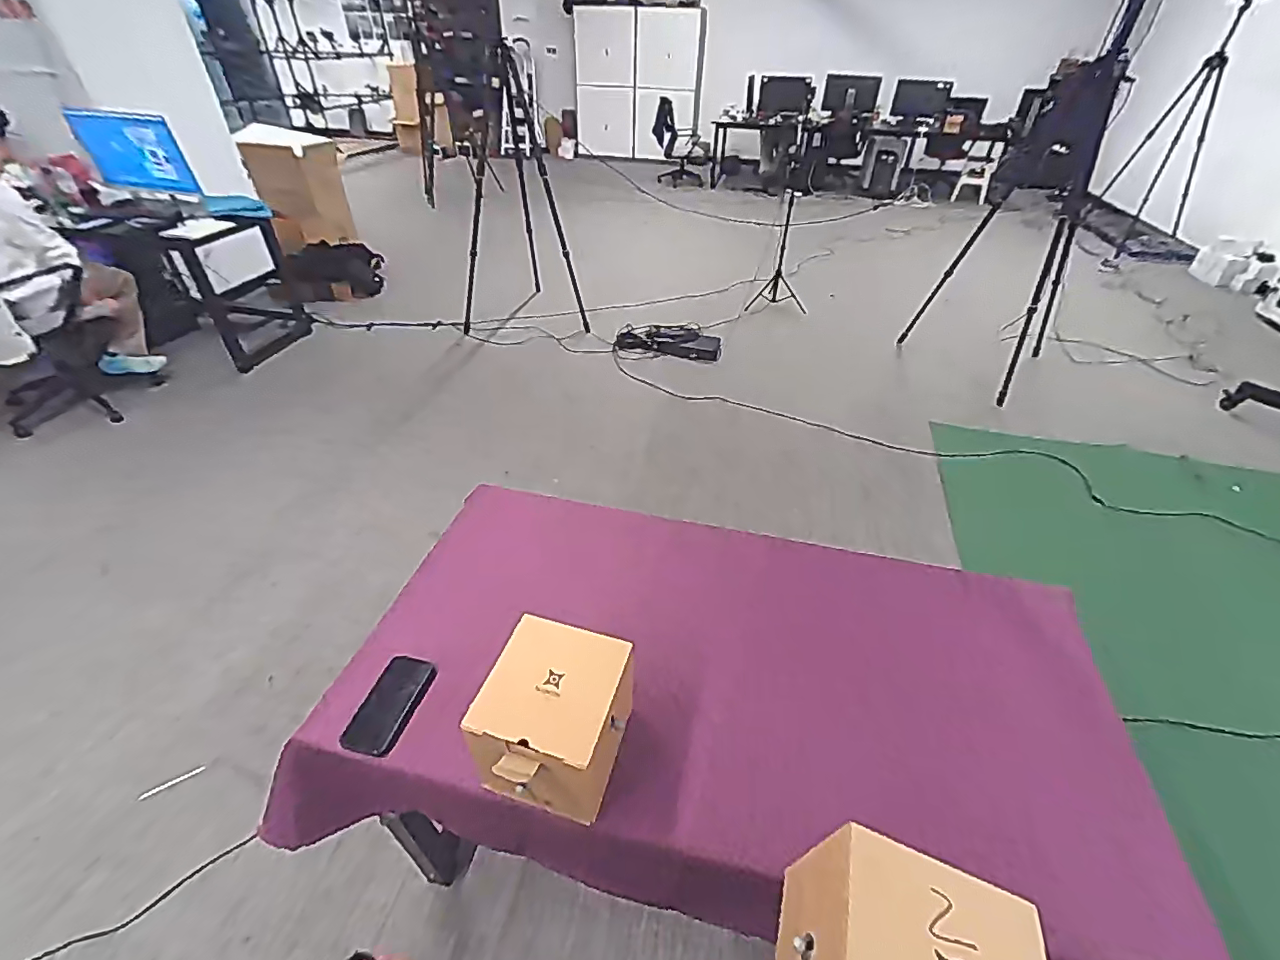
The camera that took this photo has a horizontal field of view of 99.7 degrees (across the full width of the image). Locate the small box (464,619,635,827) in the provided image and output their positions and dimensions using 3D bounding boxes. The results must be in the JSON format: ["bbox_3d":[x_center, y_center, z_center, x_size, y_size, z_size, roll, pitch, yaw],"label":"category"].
[{"bbox_3d":[-0.114,0.328,0.738,0.168,0.176,0.179,13,40,12],"label":"small box"}]
